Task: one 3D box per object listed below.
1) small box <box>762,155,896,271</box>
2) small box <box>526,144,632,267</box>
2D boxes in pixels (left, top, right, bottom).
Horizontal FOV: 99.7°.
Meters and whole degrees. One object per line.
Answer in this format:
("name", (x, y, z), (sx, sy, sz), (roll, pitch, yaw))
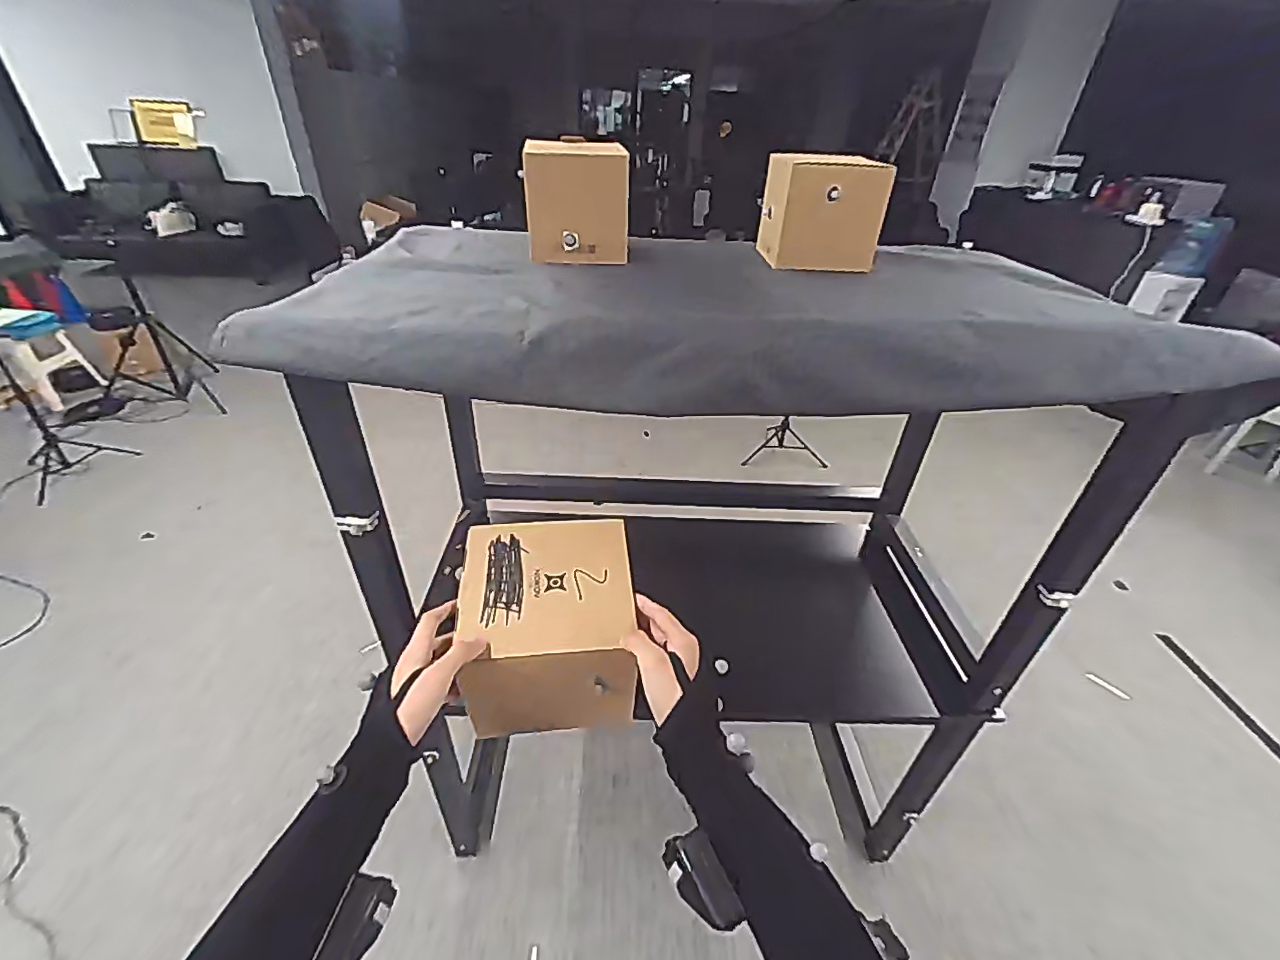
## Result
("small box", (0.326, -0.483, 0.977), (0.179, 0.176, 0.168), (2, 35, -2))
("small box", (-0.107, -0.482, 0.945), (0.168, 0.176, 0.179), (-3, 35, -7))
